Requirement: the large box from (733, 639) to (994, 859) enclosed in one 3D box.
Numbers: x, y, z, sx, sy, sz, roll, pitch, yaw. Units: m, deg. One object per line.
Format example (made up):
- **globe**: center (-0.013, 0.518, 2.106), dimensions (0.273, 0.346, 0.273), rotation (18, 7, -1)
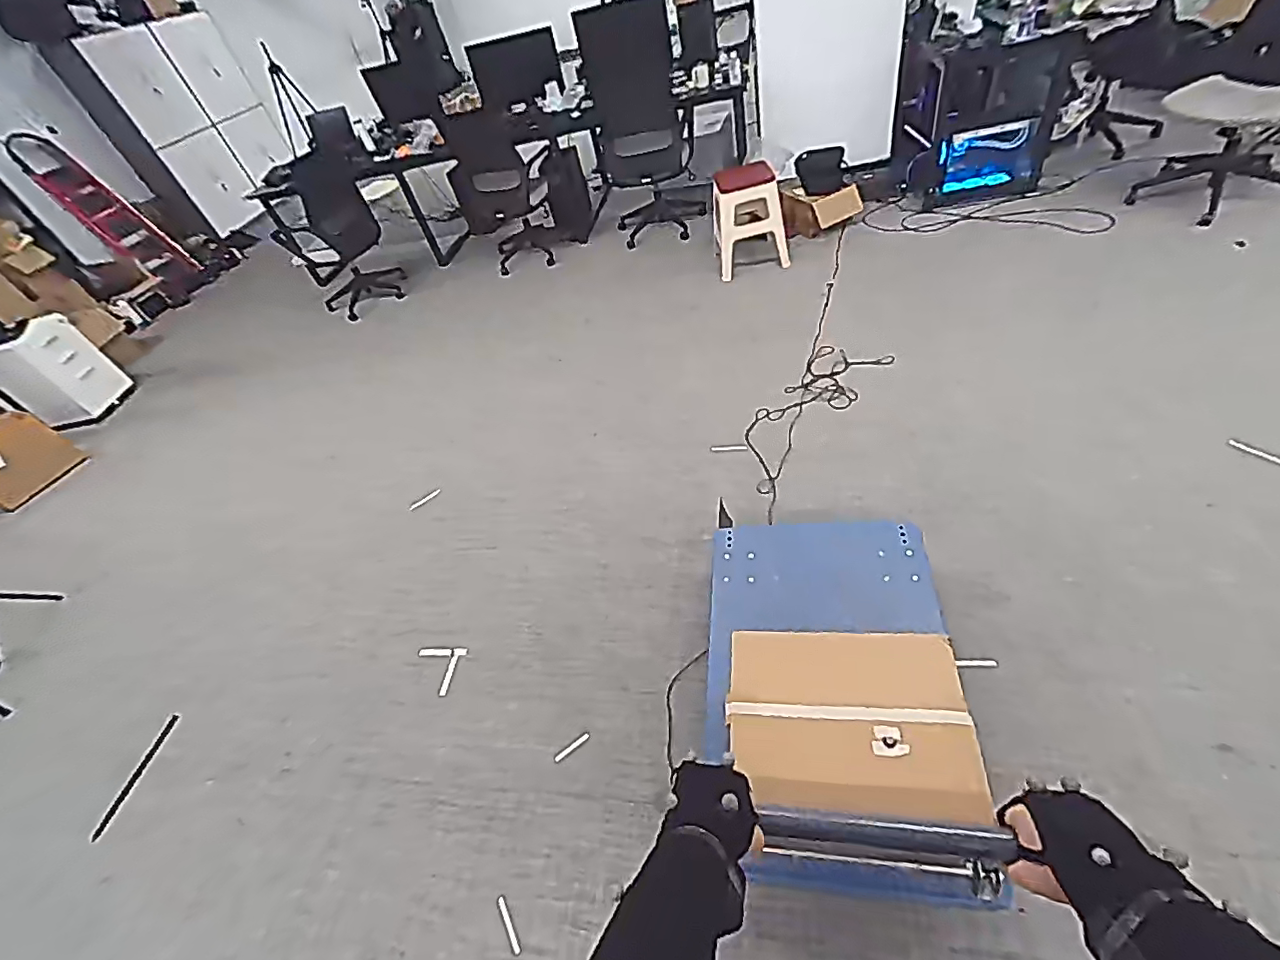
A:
- **large box**: center (0.399, 0.531, 1.077), dimensions (0.408, 0.320, 0.320), rotation (-3, 48, 14)
